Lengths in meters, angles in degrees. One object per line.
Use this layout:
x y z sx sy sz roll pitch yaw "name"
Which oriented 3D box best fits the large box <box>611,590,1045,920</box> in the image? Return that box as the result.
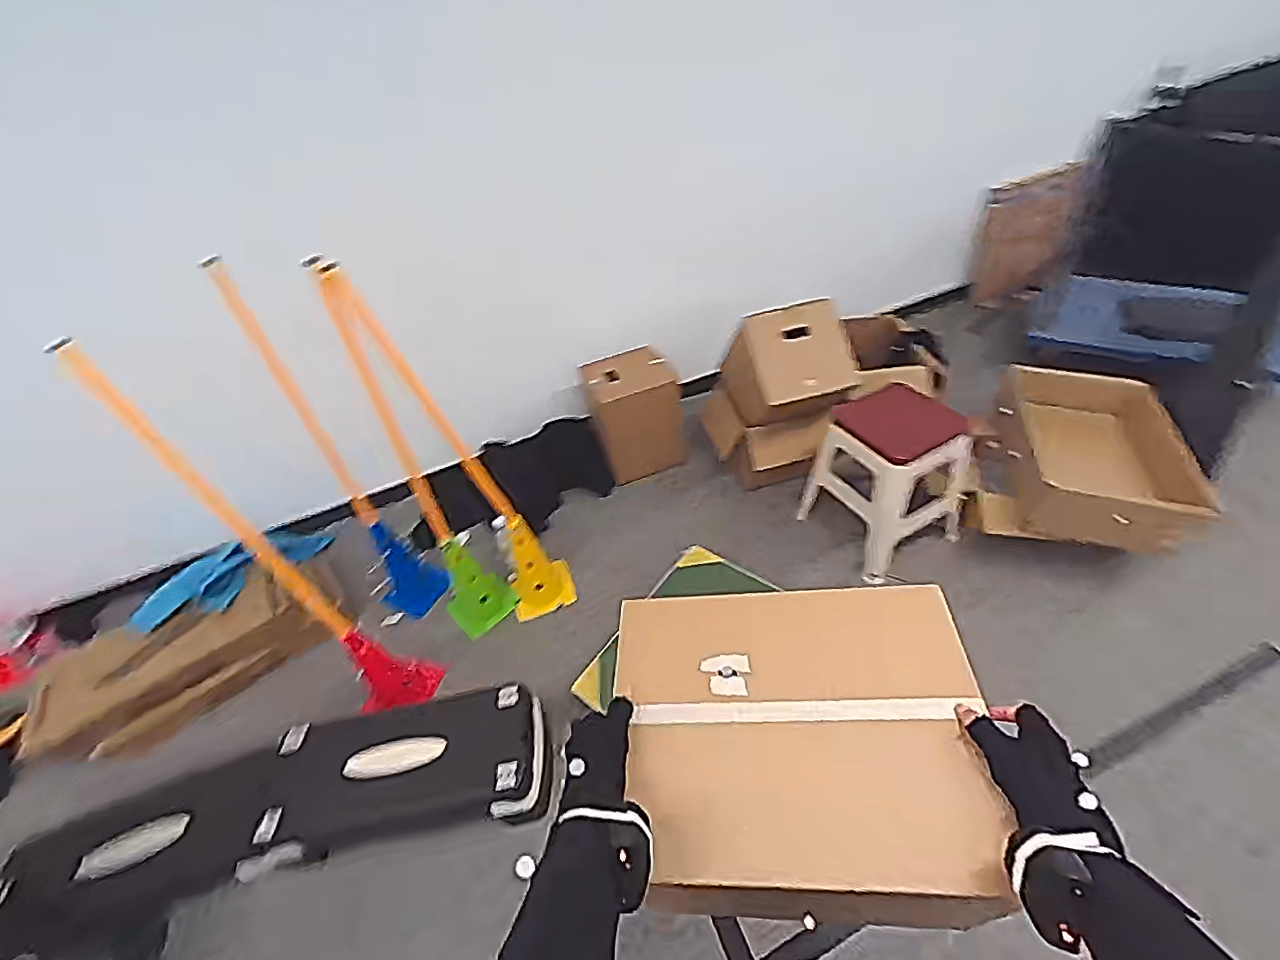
0.204 0.368 0.715 0.408 0.320 0.320 -5 46 11 "large box"
